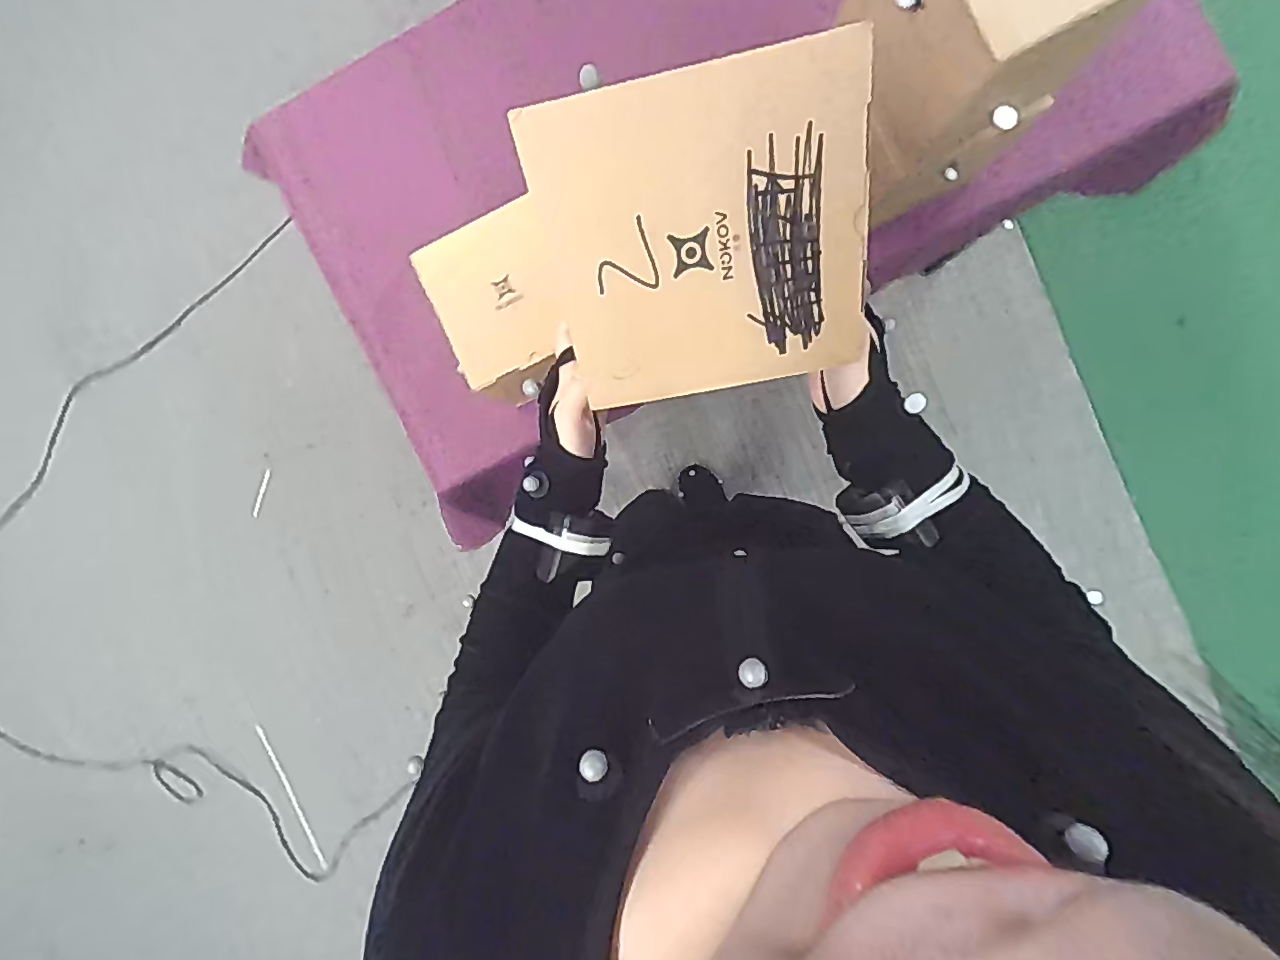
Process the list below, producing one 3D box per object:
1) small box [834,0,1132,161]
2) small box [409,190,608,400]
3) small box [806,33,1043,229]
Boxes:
[{"bbox_3d":[0.302,-0.441,0.487,0.168,0.176,0.179,-28,91,5],"label":"small box"},{"bbox_3d":[-0.154,-0.219,0.693,0.168,0.176,0.179,-25,91,4],"label":"small box"},{"bbox_3d":[0.317,-0.440,0.651,0.179,0.176,0.168,-25,91,4],"label":"small box"}]
